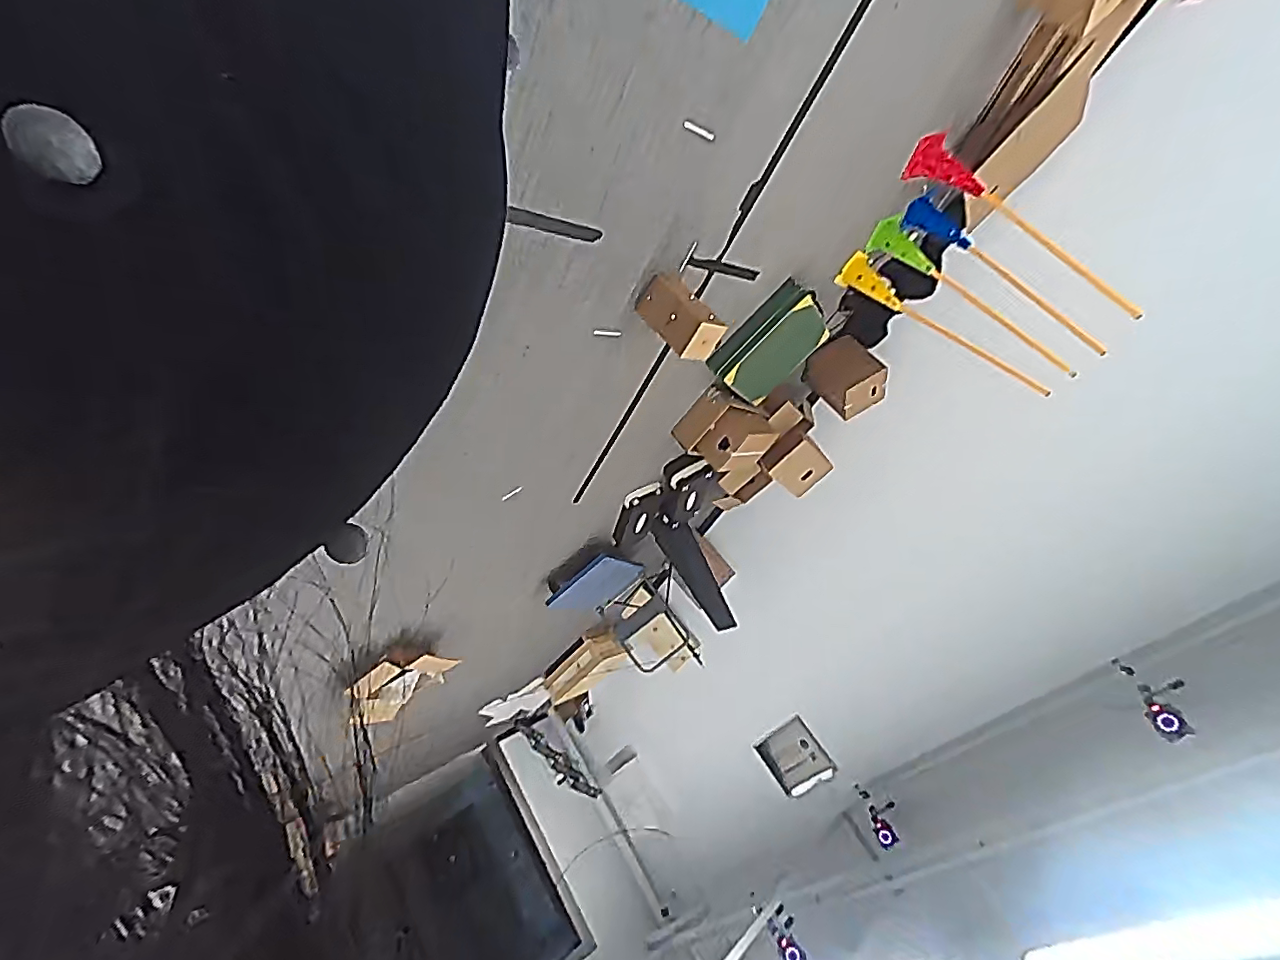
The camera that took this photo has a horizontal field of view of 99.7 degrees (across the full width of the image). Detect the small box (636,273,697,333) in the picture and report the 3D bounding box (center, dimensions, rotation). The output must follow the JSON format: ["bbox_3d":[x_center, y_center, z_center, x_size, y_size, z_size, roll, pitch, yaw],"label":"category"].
[{"bbox_3d":[0.109,-0.724,2.236,0.168,0.176,0.179,-10,145,-48],"label":"small box"}]

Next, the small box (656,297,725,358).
[{"bbox_3d":[0.201,-0.611,2.162,0.179,0.176,0.168,-8,142,-47],"label":"small box"}]
